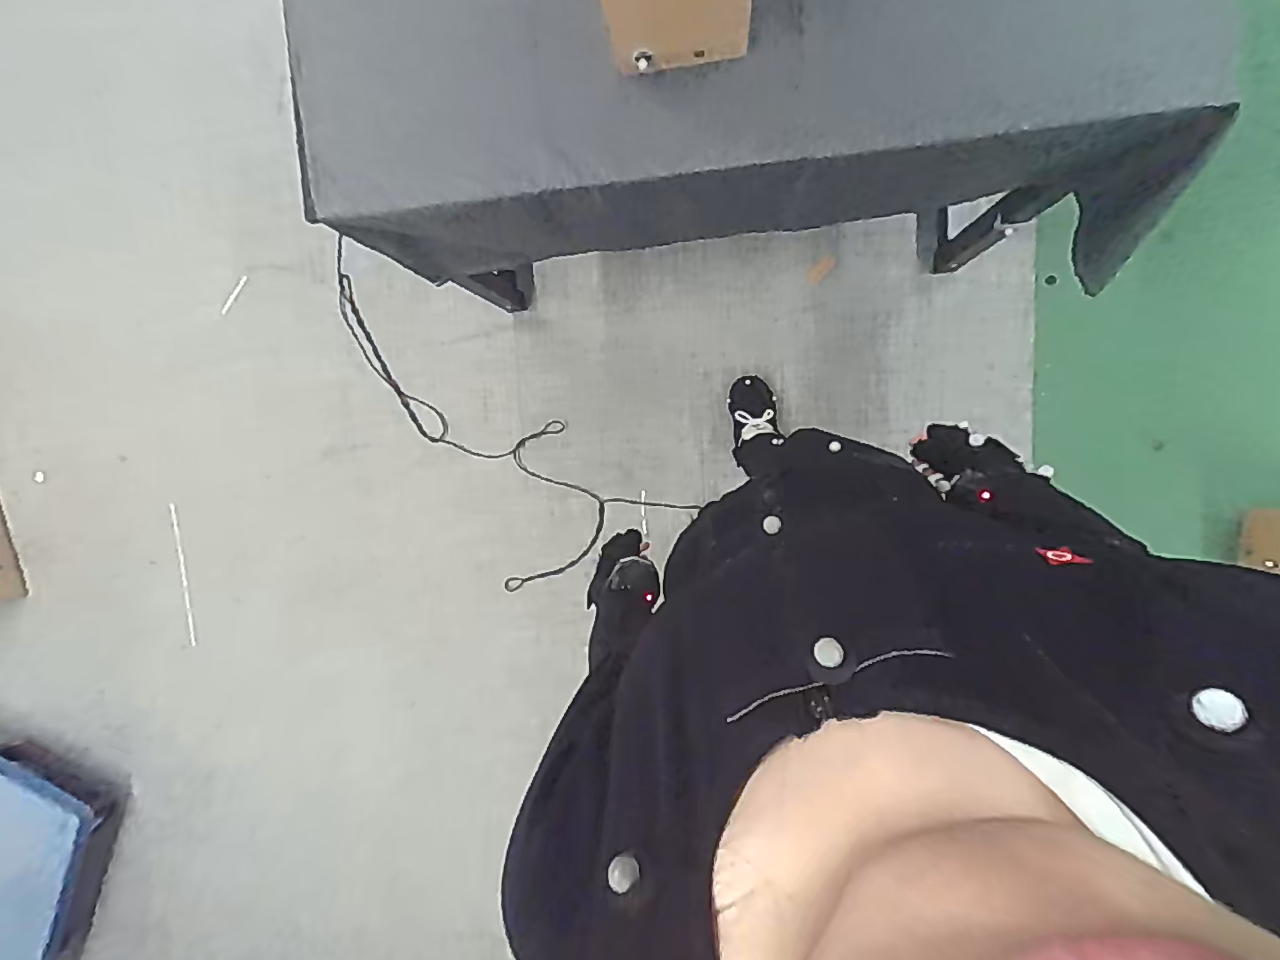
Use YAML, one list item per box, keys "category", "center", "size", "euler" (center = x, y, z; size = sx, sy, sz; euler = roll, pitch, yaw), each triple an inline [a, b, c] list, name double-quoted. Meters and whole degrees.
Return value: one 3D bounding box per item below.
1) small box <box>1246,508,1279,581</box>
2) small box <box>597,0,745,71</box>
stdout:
- category: "small box"
  center: [1.531, 0.155, 1.205]
  size: [0.179, 0.176, 0.168]
  euler: [2, 95, 9]
- category: "small box"
  center: [0.037, -0.618, 0.630]
  size: [0.168, 0.176, 0.179]
  euler: [-3, 94, 9]
